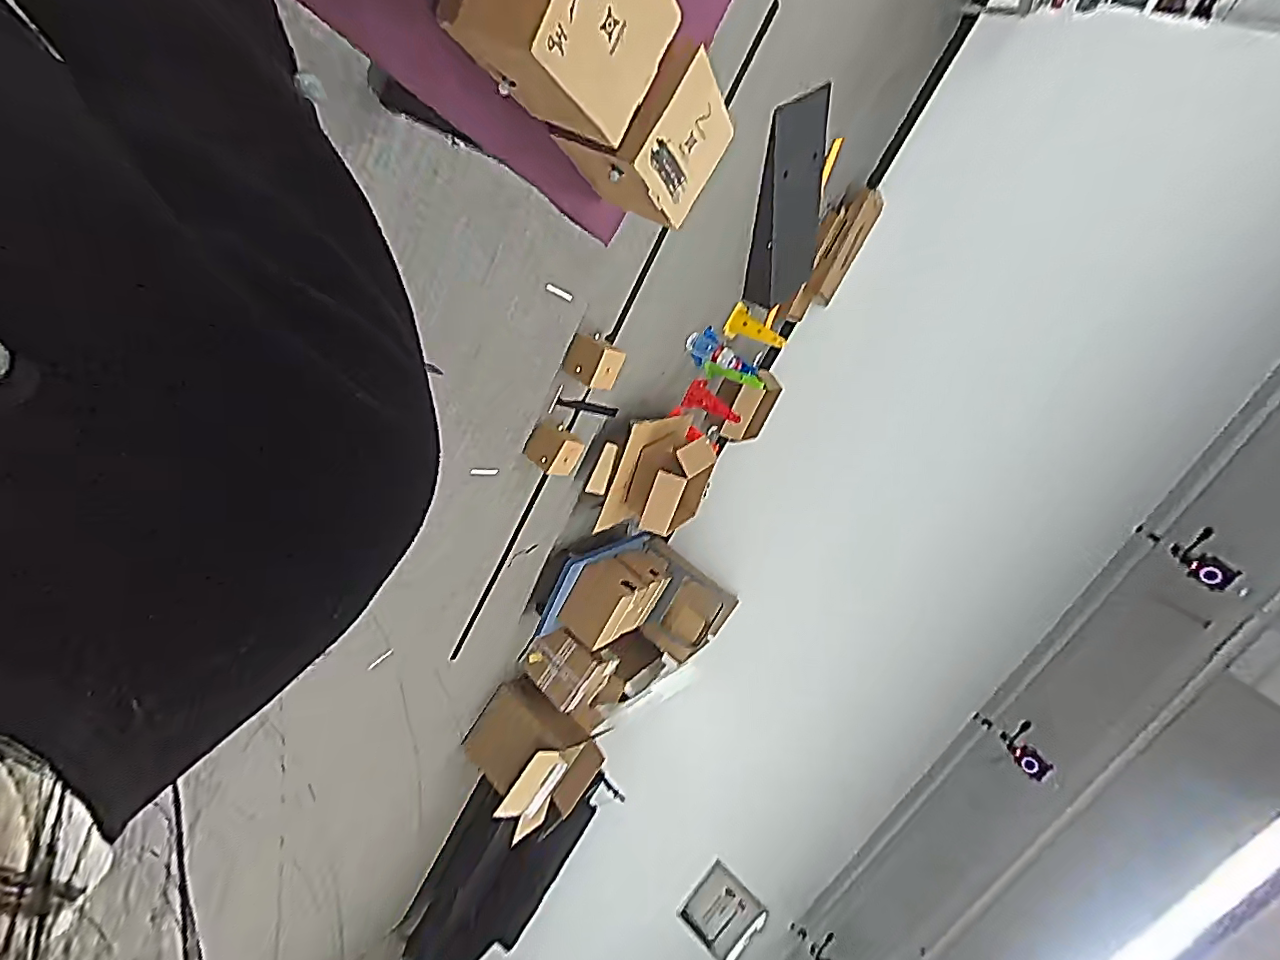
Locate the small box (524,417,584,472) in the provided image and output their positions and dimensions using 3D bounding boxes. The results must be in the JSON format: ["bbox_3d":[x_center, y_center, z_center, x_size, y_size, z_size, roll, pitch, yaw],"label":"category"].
[{"bbox_3d":[-0.392,-0.157,2.430,0.179,0.176,0.168,-58,157,12],"label":"small box"}]

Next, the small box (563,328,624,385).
[{"bbox_3d":[-0.203,-0.520,2.291,0.168,0.176,0.179,-12,132,-59],"label":"small box"}]
